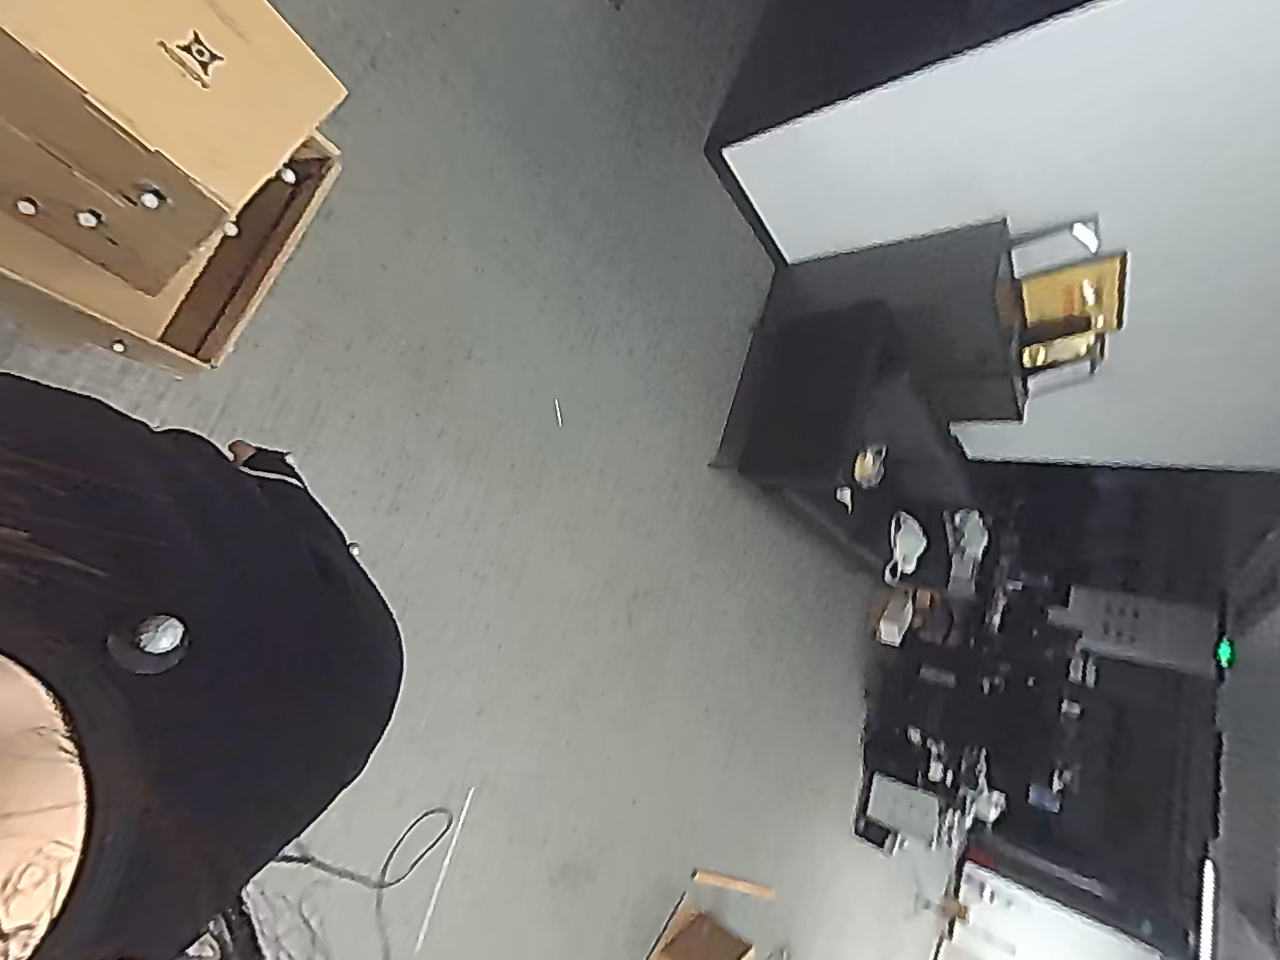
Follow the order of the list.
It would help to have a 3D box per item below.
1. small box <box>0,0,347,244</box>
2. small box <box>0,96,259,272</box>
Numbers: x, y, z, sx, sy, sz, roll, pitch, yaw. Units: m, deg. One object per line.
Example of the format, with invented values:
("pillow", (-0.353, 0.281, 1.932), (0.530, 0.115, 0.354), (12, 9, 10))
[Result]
("small box", (-0.415, -0.346, 0.488), (0.168, 0.176, 0.179), (44, 62, -42))
("small box", (-0.536, -0.359, 0.599), (0.168, 0.176, 0.179), (42, 65, -42))
